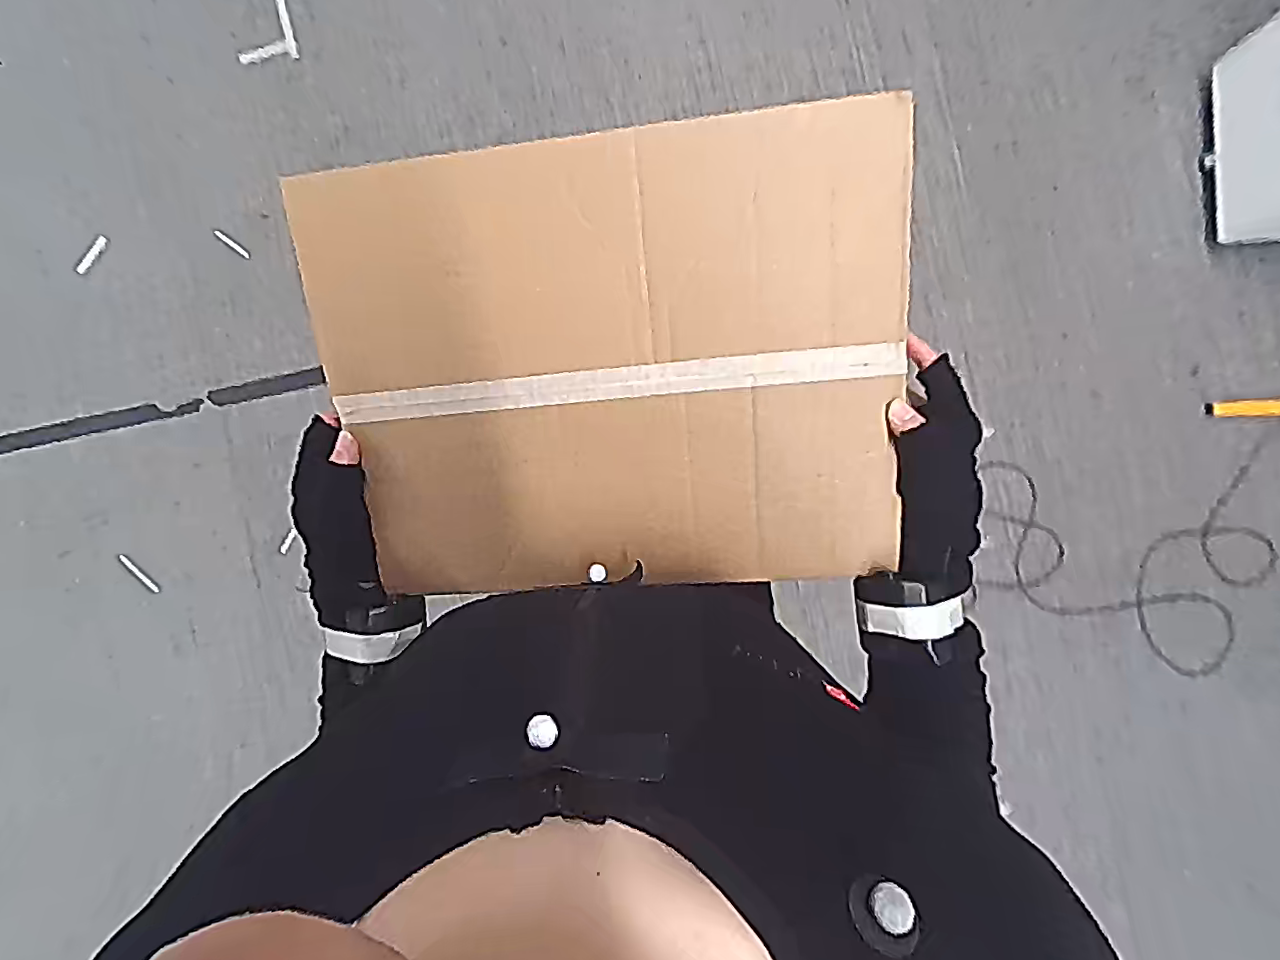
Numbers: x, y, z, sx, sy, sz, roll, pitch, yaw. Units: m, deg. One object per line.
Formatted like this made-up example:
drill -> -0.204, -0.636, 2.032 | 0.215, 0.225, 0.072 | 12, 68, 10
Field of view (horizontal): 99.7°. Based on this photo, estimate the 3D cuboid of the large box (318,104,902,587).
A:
large box -> -0.006, -0.111, 0.539 | 0.408, 0.320, 0.320 | -4, 106, 6
